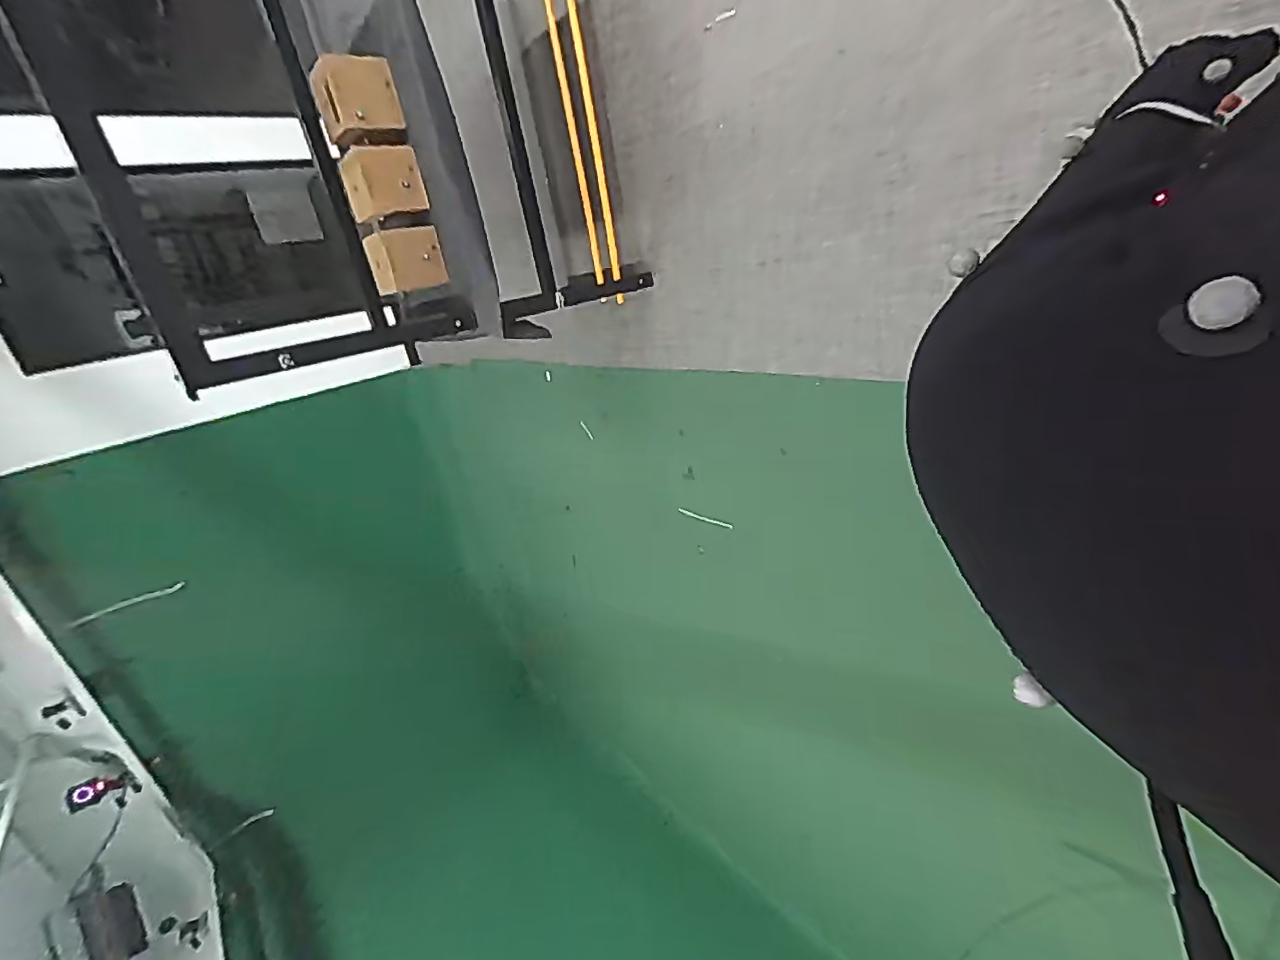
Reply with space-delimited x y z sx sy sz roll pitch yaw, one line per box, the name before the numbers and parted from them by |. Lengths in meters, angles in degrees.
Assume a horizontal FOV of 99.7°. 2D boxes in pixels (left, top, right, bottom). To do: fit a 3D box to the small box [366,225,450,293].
small box | -0.714 -0.680 1.669 0.179 0.176 0.168 15 123 48
